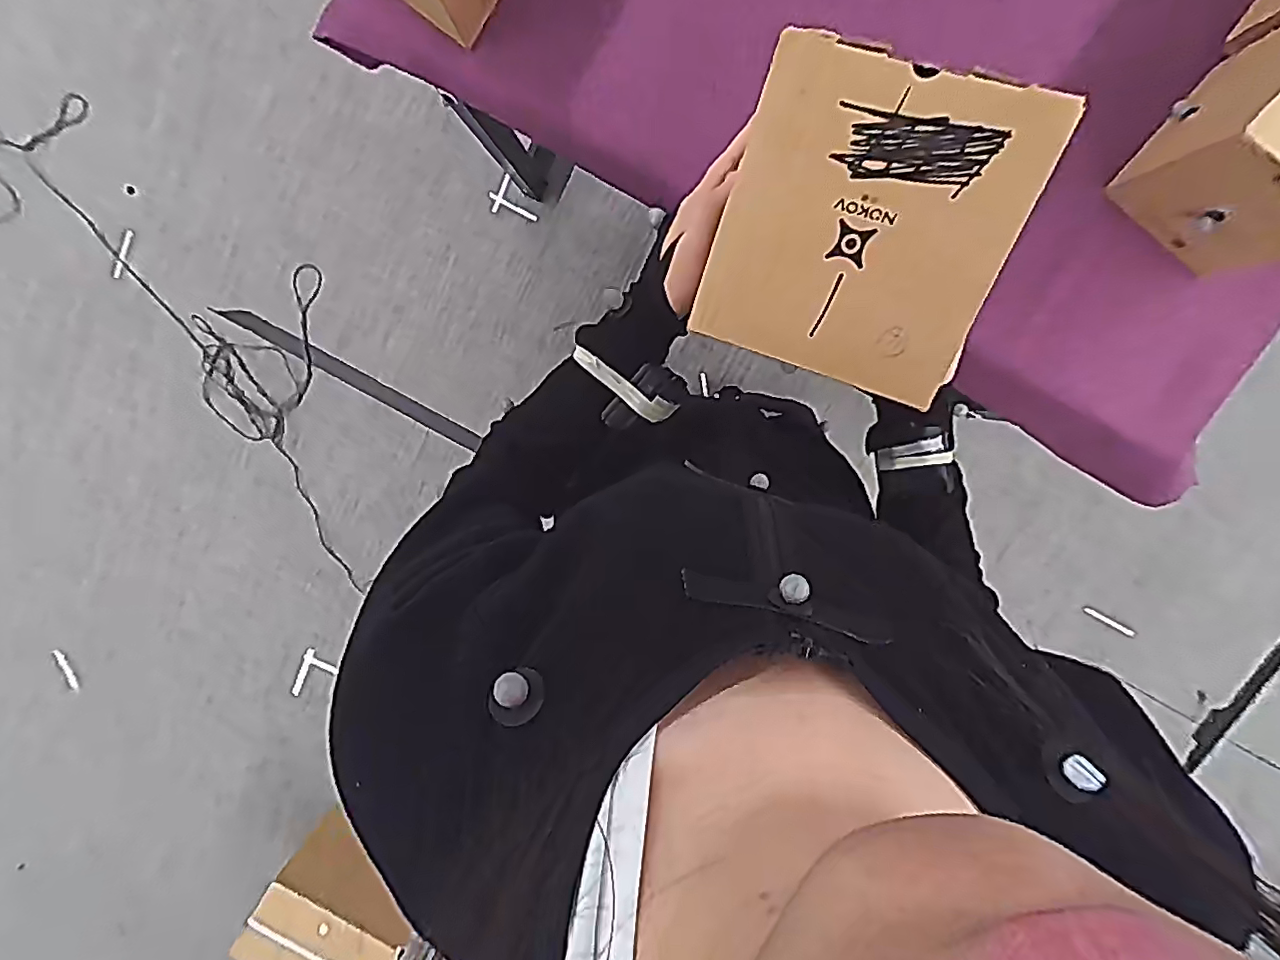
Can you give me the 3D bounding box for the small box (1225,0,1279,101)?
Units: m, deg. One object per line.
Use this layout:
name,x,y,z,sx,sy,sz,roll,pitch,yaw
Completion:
small box,0.767,-0.508,0.531,0.168,0.176,0.179,32,100,-4

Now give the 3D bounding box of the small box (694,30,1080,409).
small box,0.155,-0.174,0.400,0.168,0.176,0.179,22,112,9
